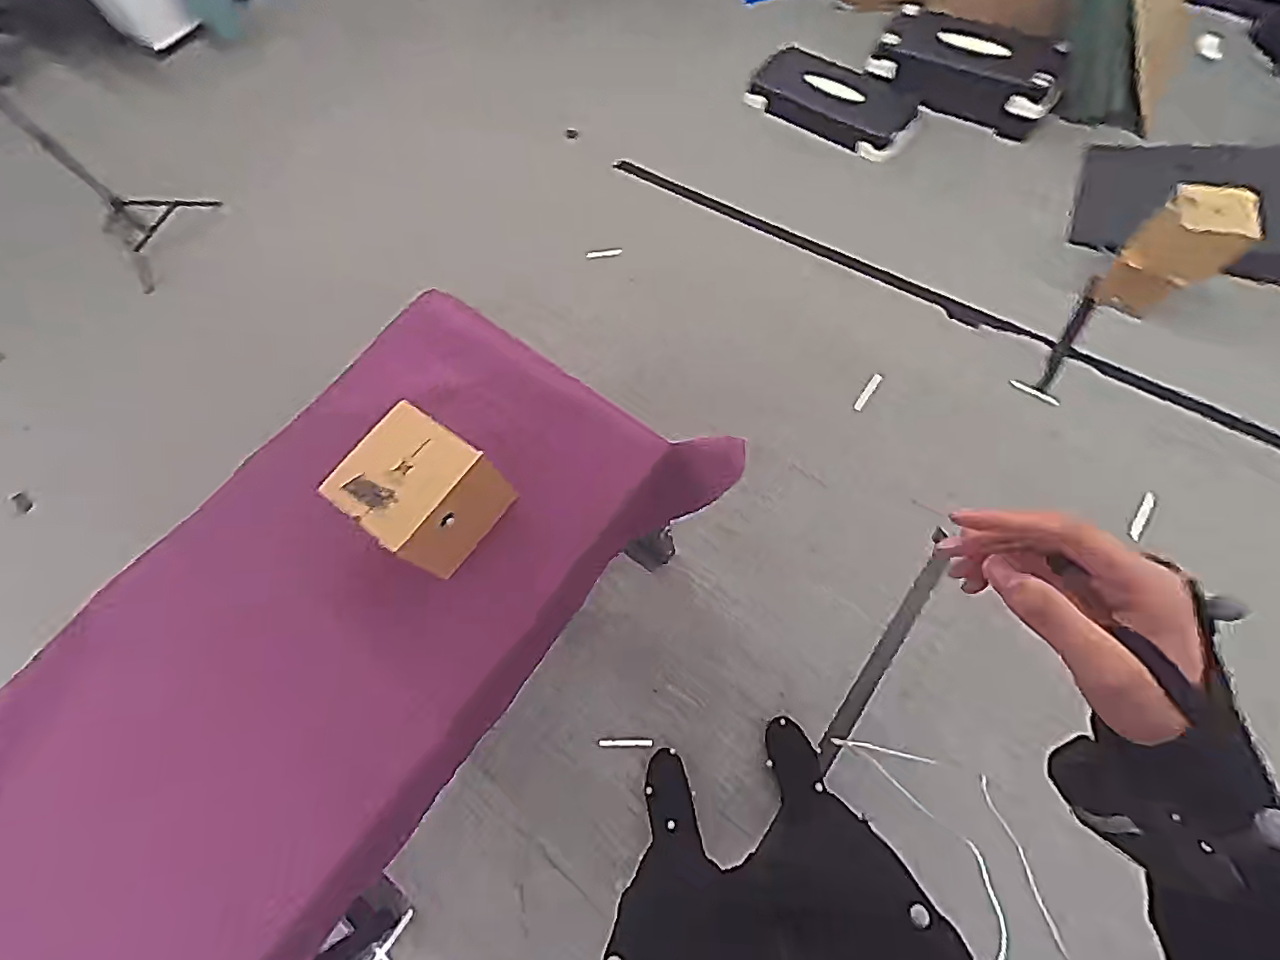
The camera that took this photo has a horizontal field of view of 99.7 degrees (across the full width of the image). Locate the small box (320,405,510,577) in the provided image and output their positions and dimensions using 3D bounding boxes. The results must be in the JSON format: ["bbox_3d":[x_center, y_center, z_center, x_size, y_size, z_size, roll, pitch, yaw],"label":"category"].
[{"bbox_3d":[-0.327,0.026,0.826,0.168,0.176,0.179,32,74,17],"label":"small box"}]
